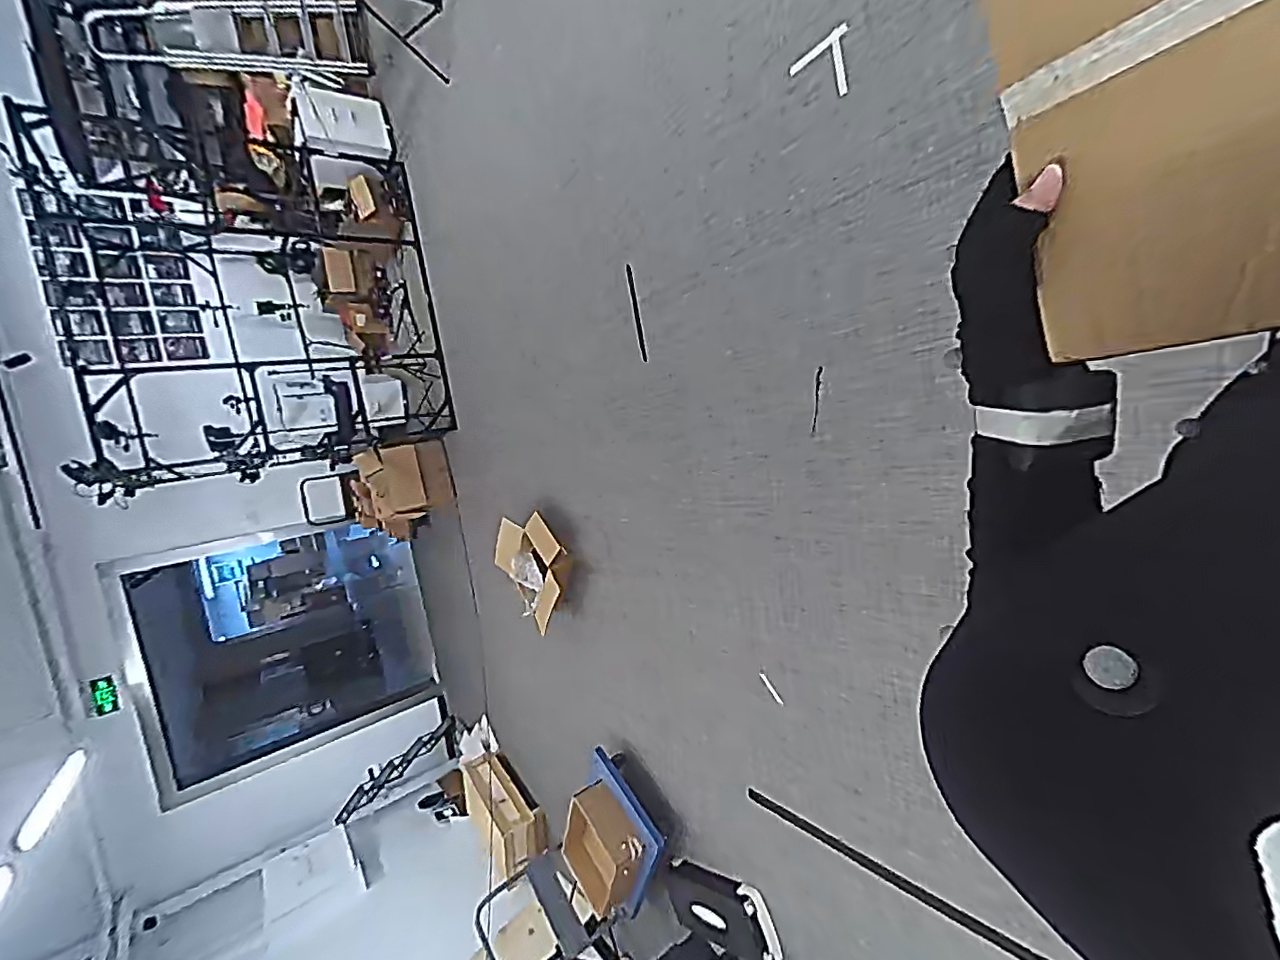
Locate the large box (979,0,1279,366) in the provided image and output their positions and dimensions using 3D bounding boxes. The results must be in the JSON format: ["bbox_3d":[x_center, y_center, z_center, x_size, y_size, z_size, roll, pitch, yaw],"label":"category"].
[{"bbox_3d":[0.450,-0.278,0.248,0.408,0.320,0.320,-4,106,56],"label":"large box"}]
